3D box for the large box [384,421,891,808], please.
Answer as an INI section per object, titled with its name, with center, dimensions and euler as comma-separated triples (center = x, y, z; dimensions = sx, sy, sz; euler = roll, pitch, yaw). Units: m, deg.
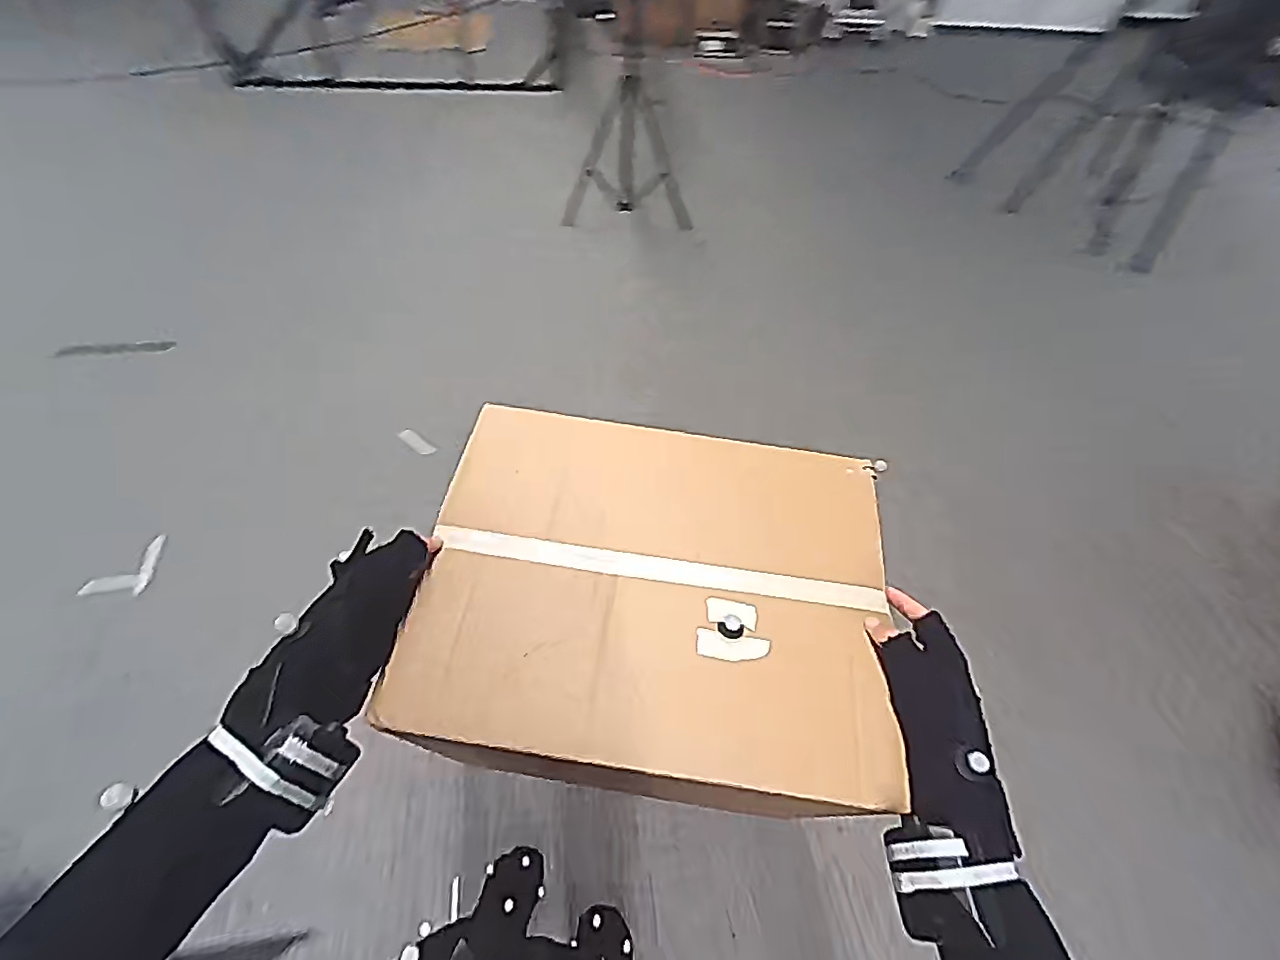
[large box]
center = 0.002, 0.168, 0.619
dimensions = 0.408, 0.320, 0.320
euler = 8, 57, 1
